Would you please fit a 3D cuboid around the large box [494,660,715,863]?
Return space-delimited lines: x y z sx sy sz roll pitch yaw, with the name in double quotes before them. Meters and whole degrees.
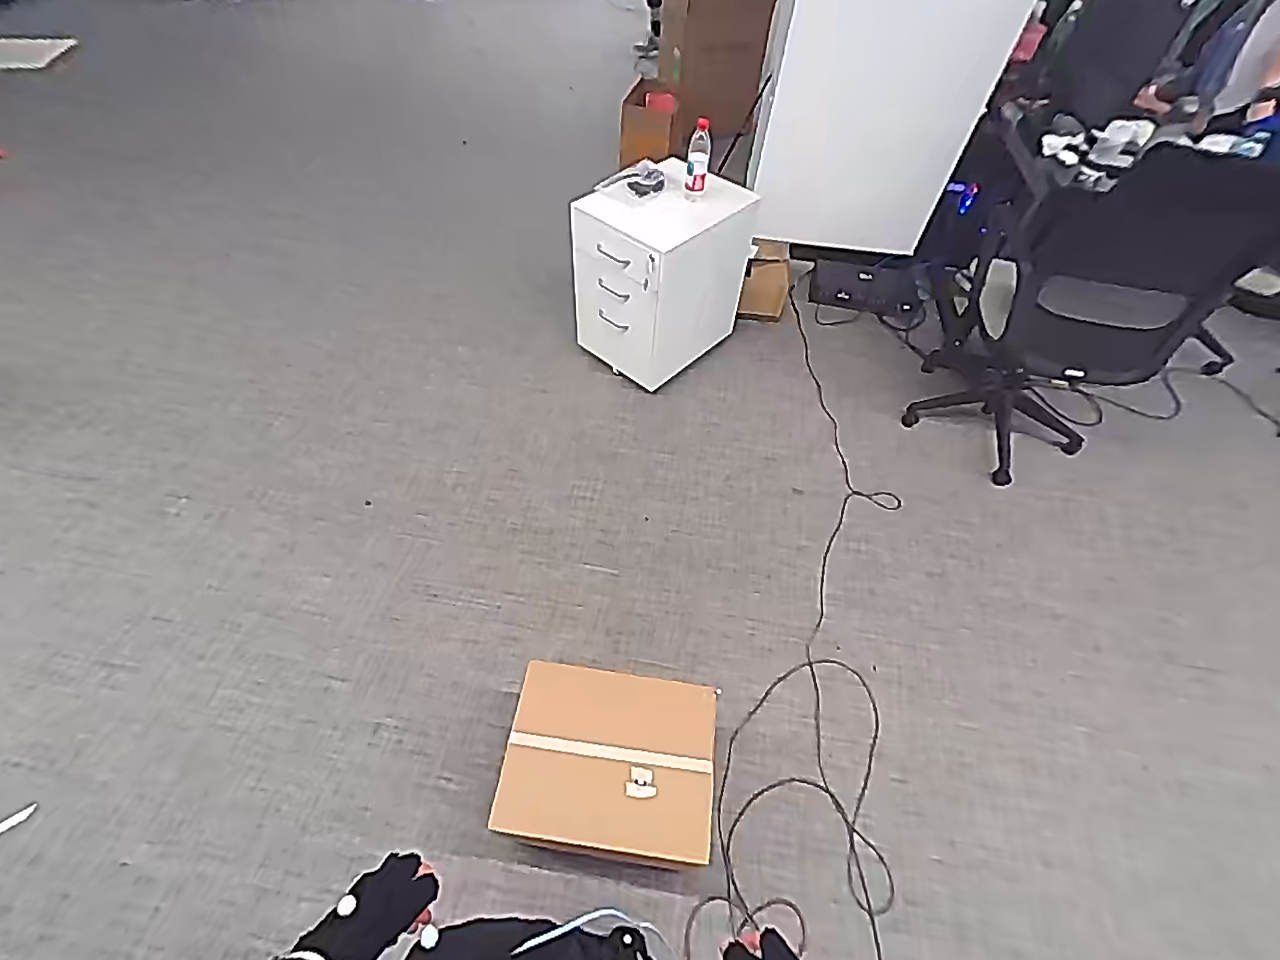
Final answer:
"large box" -0.066 0.622 1.185 0.408 0.320 0.320 8 53 2
